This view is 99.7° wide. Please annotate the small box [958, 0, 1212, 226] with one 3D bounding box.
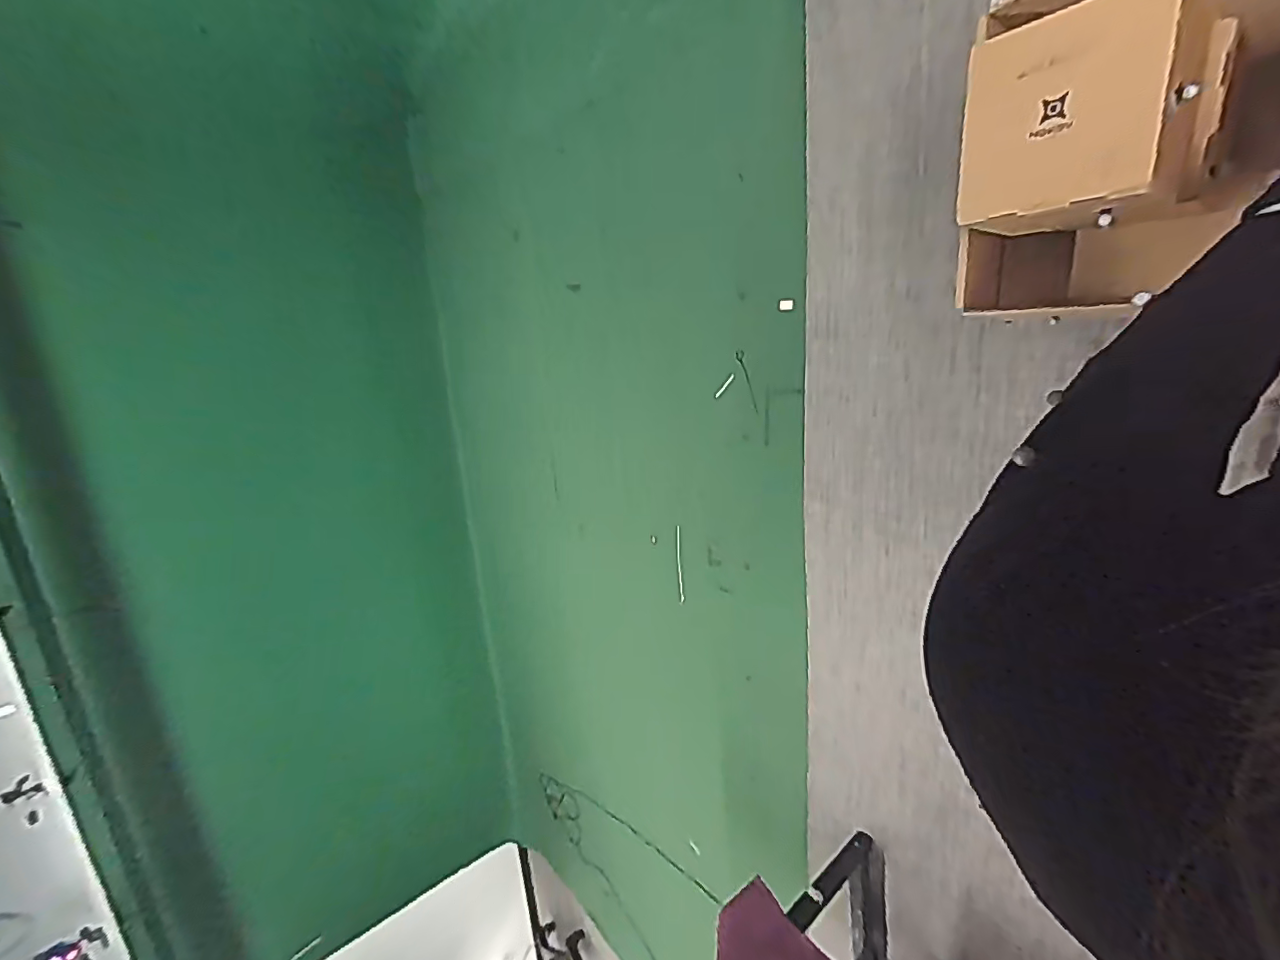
[{"bbox_3d":[0.473,-0.379,0.581,0.168,0.176,0.179,16,114,50],"label":"small box"}]
